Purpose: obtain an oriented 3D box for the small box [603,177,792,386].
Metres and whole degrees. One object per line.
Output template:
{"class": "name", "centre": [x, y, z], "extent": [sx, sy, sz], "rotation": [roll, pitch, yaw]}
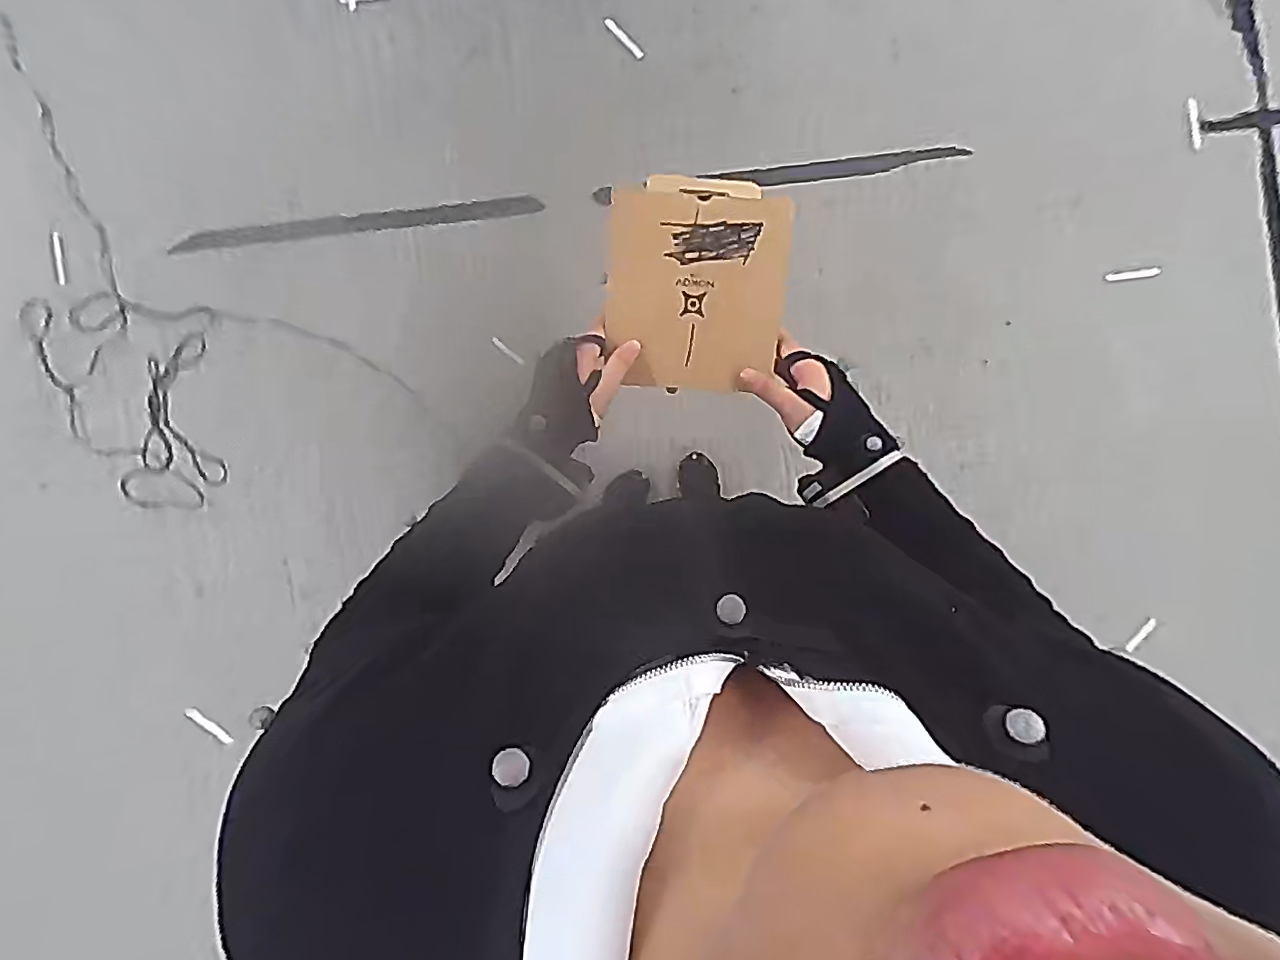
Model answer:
{"class": "small box", "centre": [0.049, -0.200, 0.579], "extent": [0.168, 0.176, 0.179], "rotation": [3, 106, -2]}
